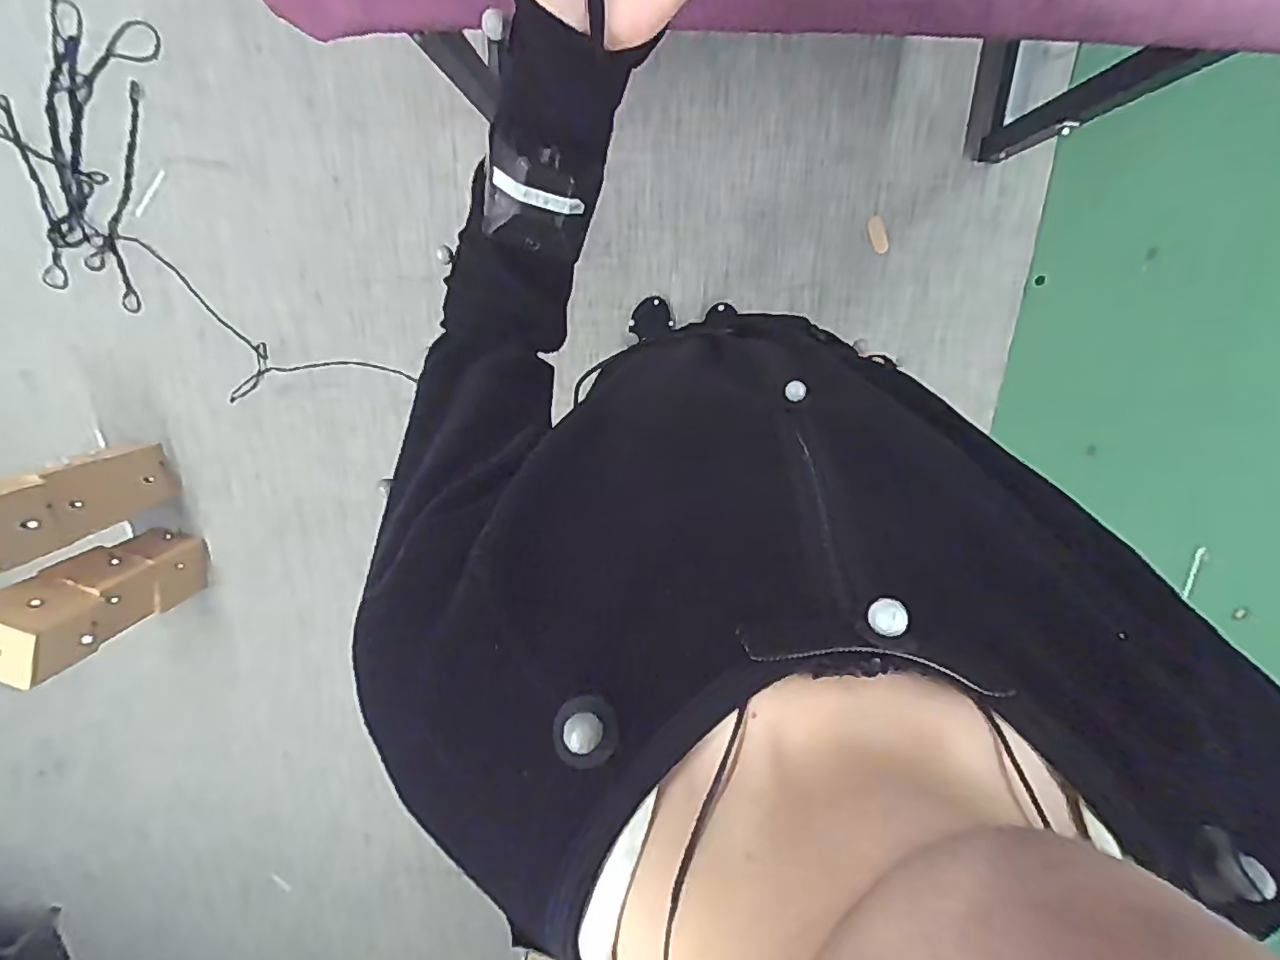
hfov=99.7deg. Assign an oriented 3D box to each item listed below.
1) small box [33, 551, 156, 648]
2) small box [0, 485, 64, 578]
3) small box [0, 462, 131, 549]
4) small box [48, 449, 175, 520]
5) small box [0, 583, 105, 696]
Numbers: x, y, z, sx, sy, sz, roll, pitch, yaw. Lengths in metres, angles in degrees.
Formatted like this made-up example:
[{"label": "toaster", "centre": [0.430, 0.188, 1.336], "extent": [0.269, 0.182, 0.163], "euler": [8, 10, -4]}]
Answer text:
[{"label": "small box", "centre": [-1.445, 0.318, 1.438], "extent": [0.168, 0.176, 0.179], "euler": [19, 106, -2]}, {"label": "small box", "centre": [-1.455, 0.112, 1.203], "extent": [0.179, 0.176, 0.168], "euler": [-2, 107, 1]}, {"label": "small box", "centre": [-1.454, 0.068, 1.360], "extent": [0.168, 0.176, 0.179], "euler": [-9, 107, 4]}, {"label": "small box", "centre": [-1.461, 0.013, 1.514], "extent": [0.179, 0.176, 0.168], "euler": [-5, 106, 4]}, {"label": "small box", "centre": [-1.444, 0.367, 1.281], "extent": [0.179, 0.176, 0.168], "euler": [23, 106, -5]}]
